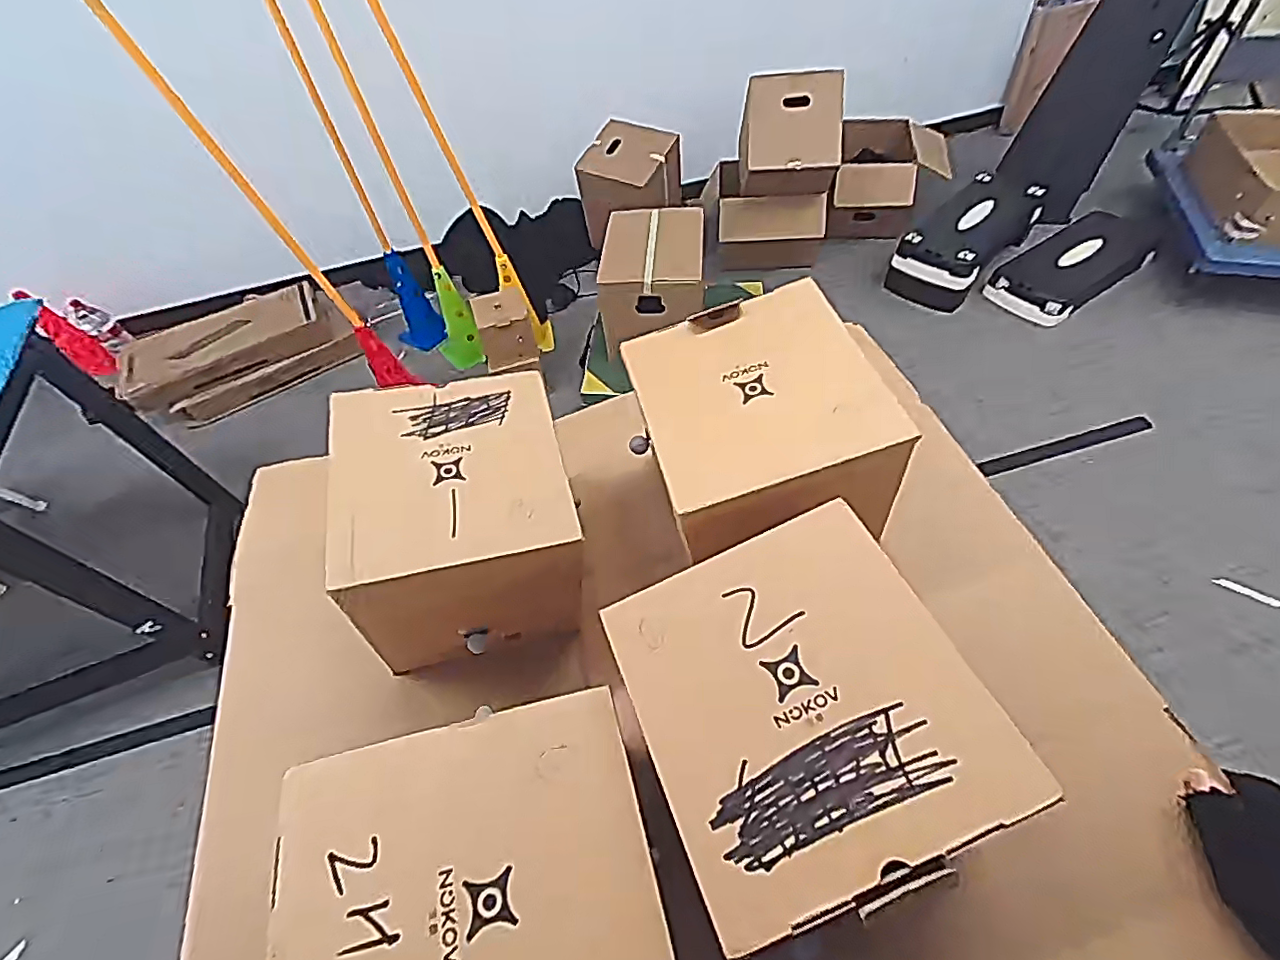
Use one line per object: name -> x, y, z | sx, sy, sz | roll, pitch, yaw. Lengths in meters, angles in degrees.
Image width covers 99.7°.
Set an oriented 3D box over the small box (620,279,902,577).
small box -> 0.096, -0.033, 0.471 | 0.168, 0.176, 0.179 | -18, 55, 2
